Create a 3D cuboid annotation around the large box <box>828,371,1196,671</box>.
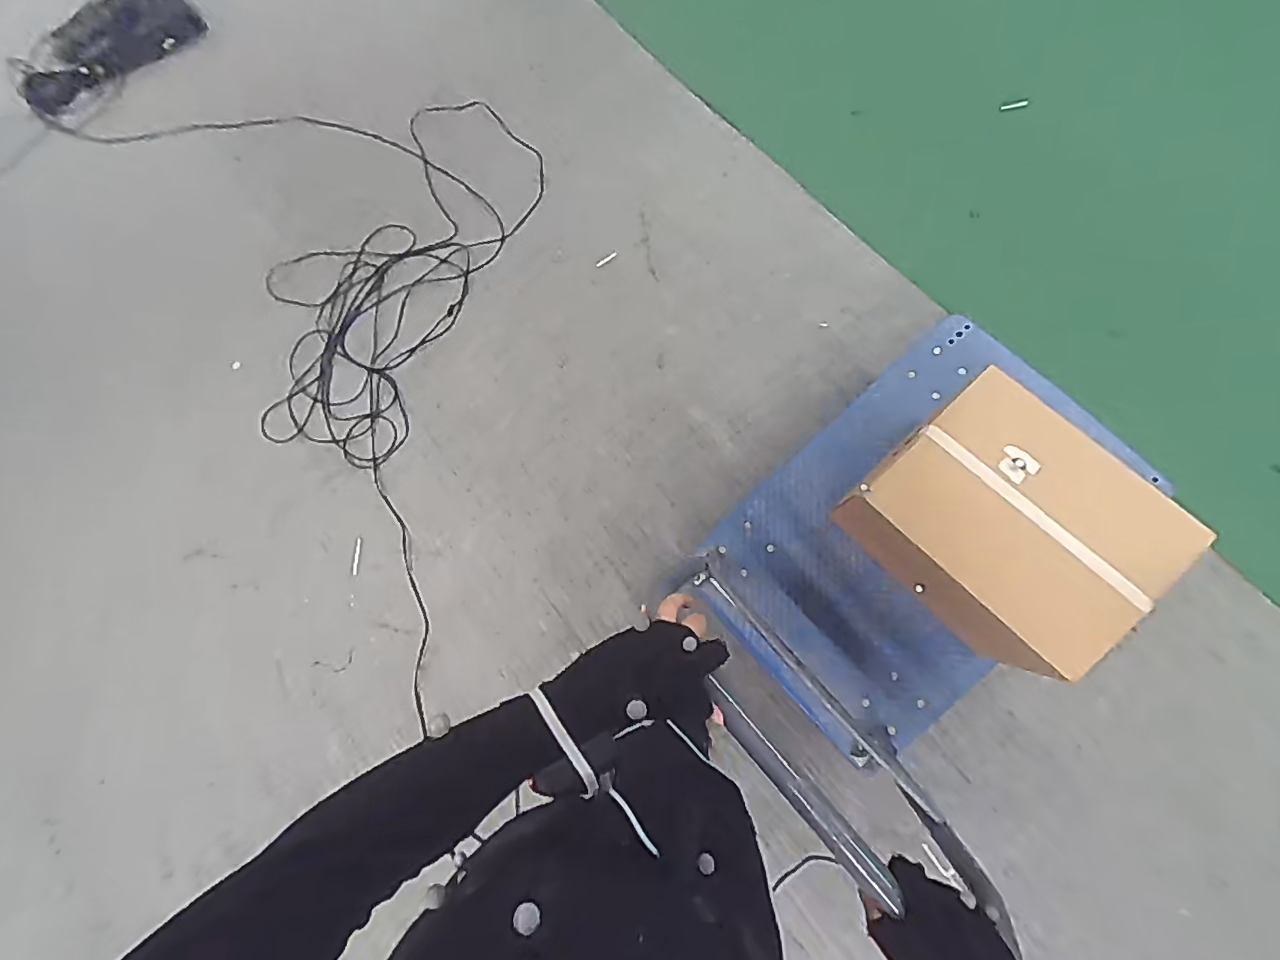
[{"bbox_3d":[0.630,0.079,1.010,0.320,0.320,0.408,-45,76,-1],"label":"large box"}]
